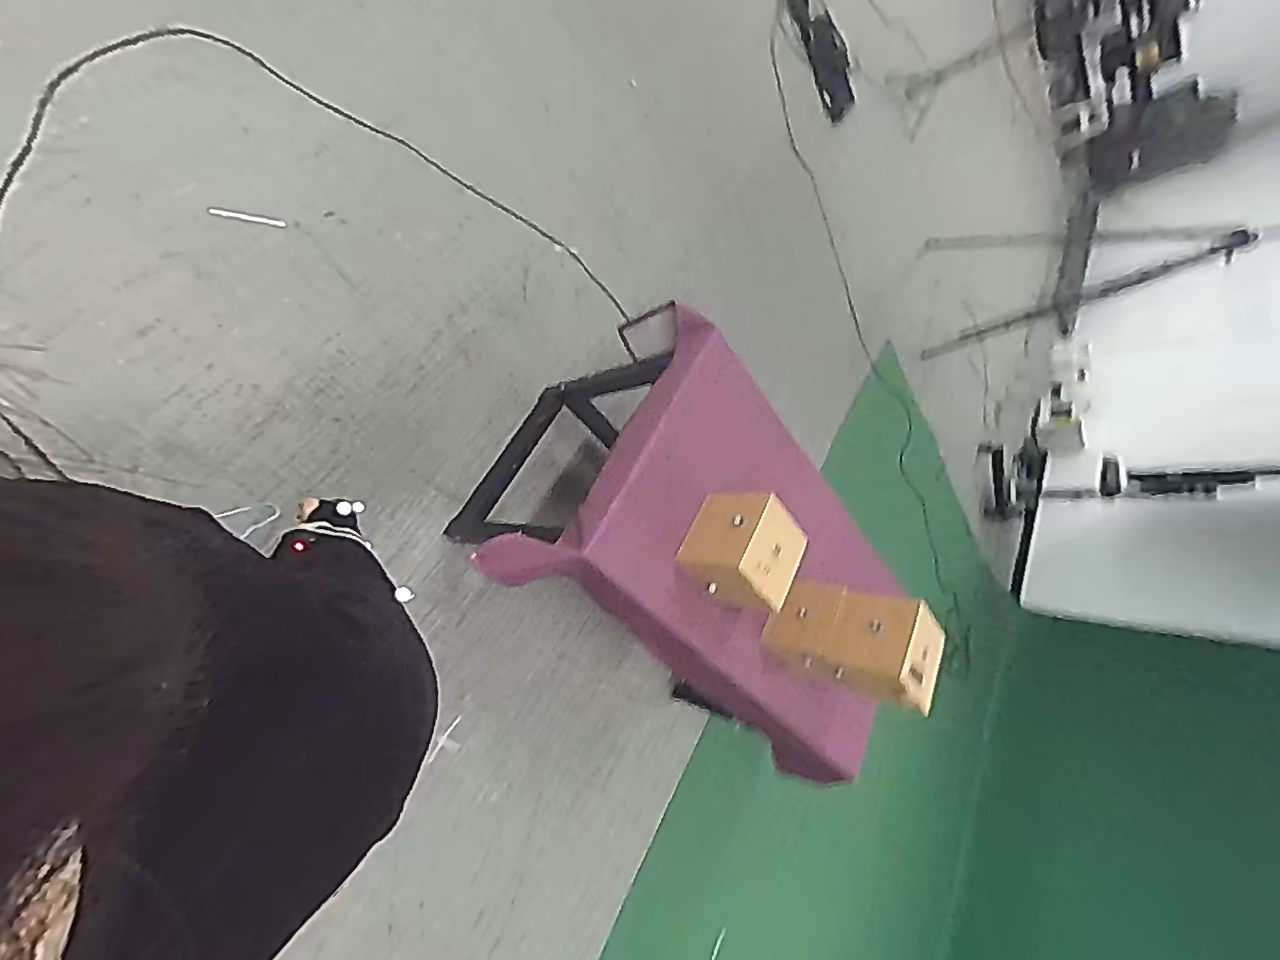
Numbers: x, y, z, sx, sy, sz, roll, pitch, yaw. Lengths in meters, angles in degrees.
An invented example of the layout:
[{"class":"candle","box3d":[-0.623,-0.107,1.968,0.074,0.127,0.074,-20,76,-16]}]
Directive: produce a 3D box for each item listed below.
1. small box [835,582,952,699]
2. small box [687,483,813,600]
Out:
[{"class":"small box","box3d":[0.547,0.341,1.176,0.168,0.176,0.179,47,59,-30]},{"class":"small box","box3d":[0.225,0.123,1.121,0.168,0.176,0.179,46,61,-30]}]
